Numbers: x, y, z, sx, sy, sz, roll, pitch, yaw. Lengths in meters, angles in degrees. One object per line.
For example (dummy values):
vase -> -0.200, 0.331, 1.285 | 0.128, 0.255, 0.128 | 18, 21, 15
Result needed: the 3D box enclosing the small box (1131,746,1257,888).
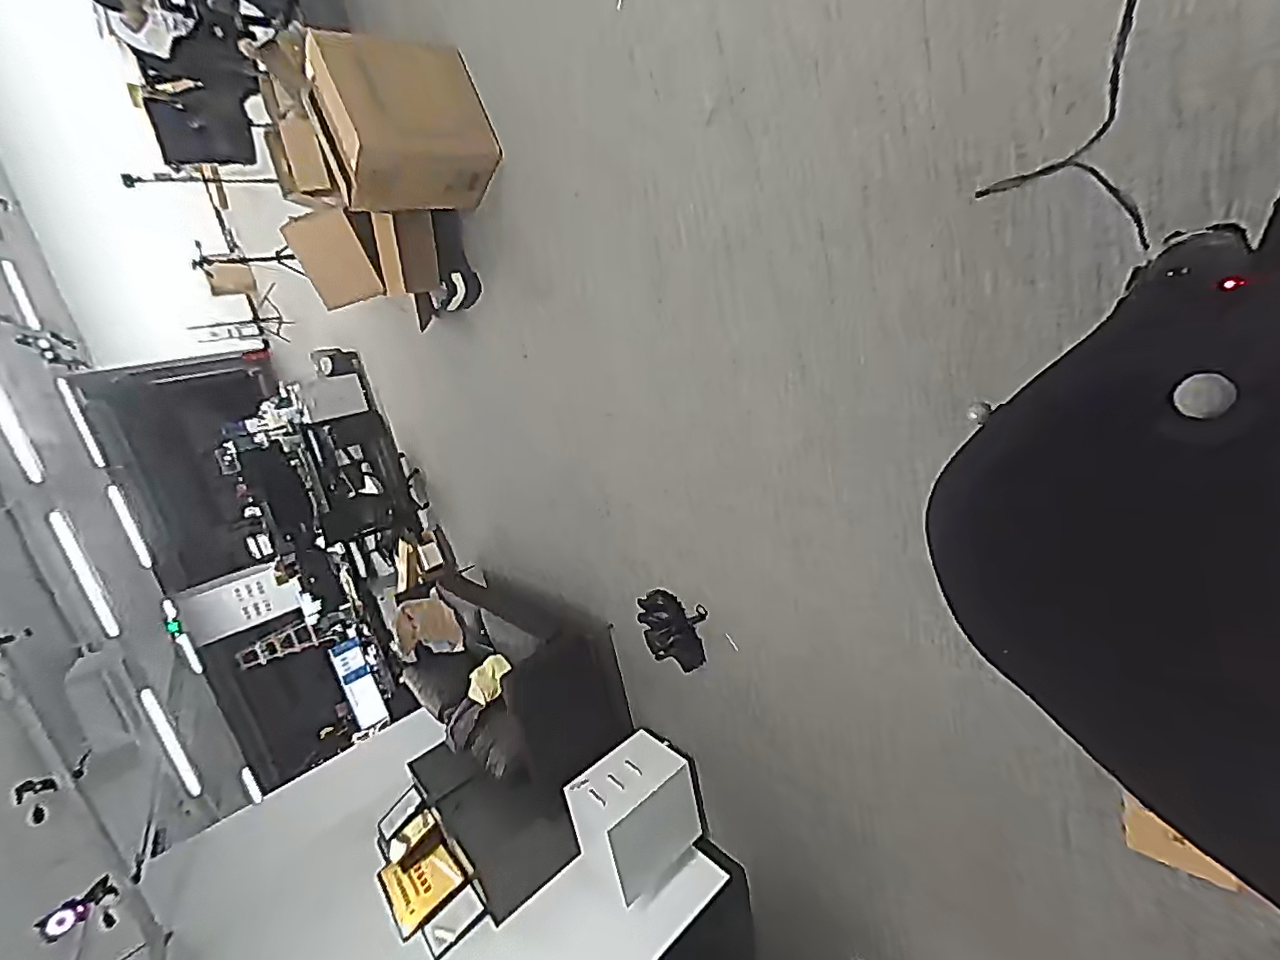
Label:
small box -> 1.216, 0.724, 1.188 | 0.179, 0.176, 0.168 | 1, 110, 51
